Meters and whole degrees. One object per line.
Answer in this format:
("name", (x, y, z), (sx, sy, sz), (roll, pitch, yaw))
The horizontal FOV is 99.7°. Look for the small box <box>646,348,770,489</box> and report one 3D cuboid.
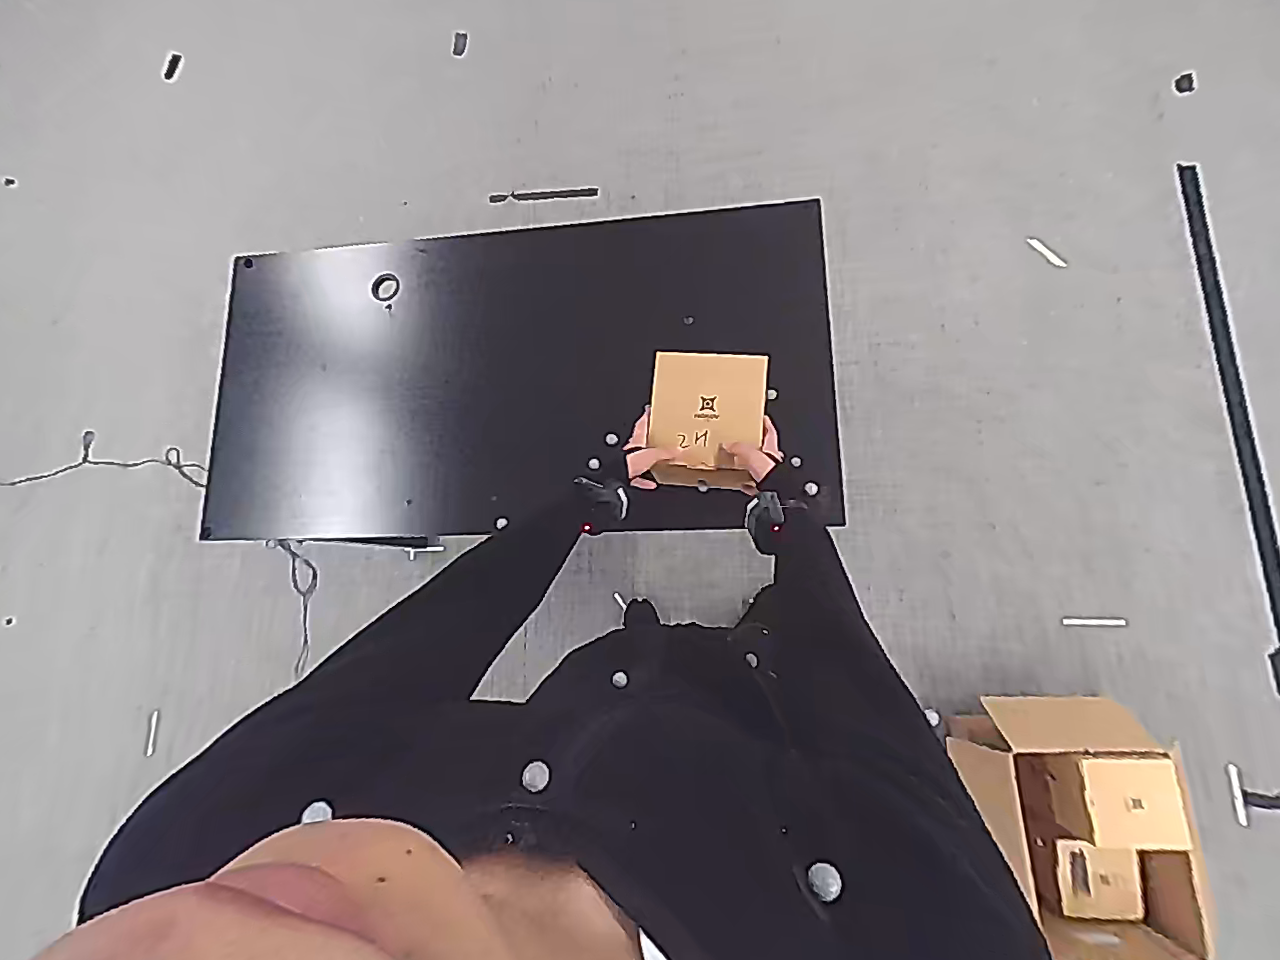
("small box", (0.109, -0.090, 0.855), (0.168, 0.176, 0.179), (5, 81, 10))
